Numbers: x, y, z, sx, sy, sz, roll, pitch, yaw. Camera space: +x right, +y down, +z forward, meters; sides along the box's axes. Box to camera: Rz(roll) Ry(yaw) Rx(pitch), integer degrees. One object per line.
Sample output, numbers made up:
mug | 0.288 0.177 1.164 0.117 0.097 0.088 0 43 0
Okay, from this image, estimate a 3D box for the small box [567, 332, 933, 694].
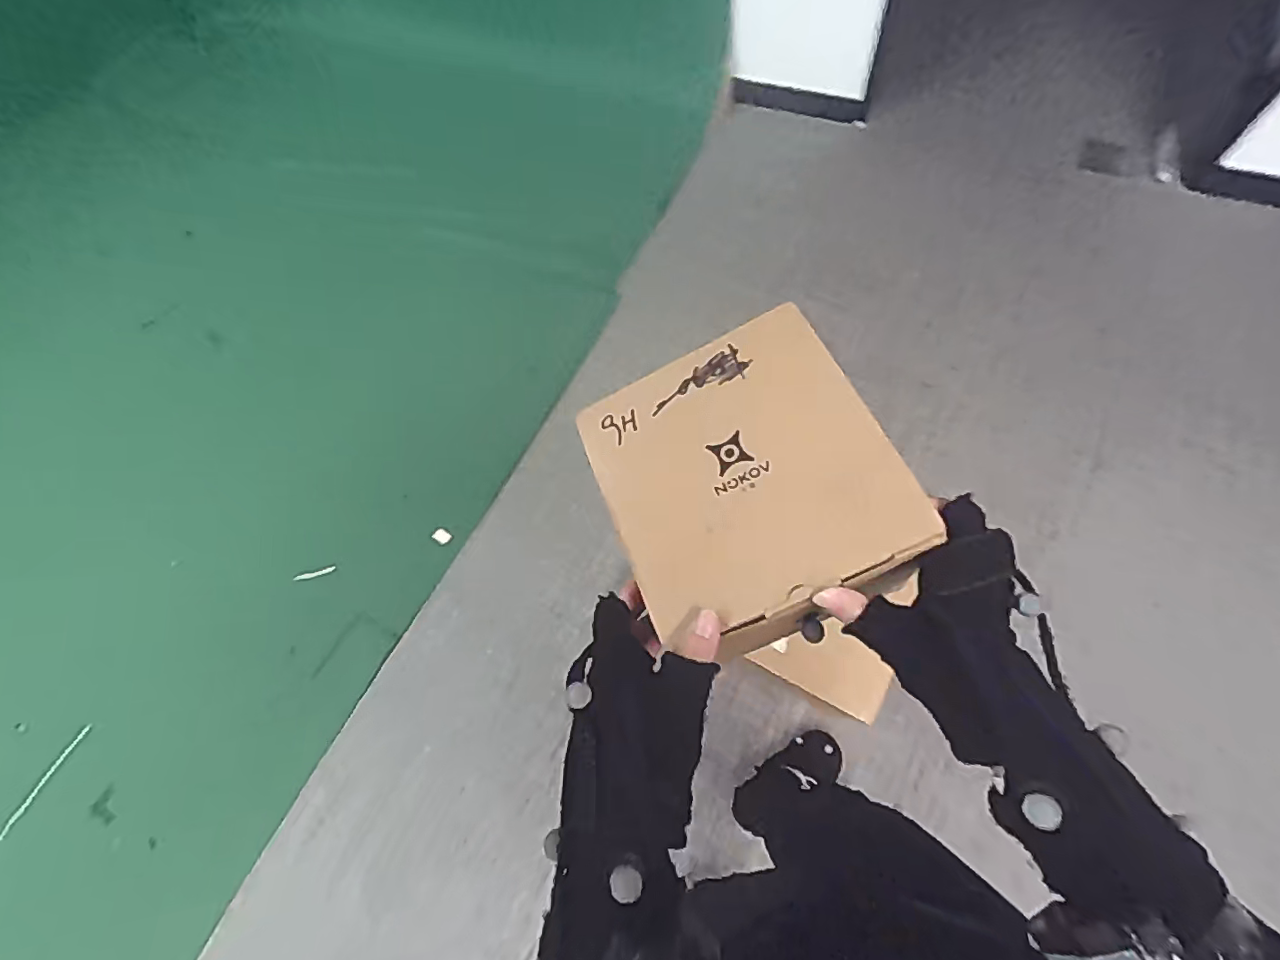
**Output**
small box | 0.076 0.035 0.396 0.168 0.176 0.179 -27 66 7
